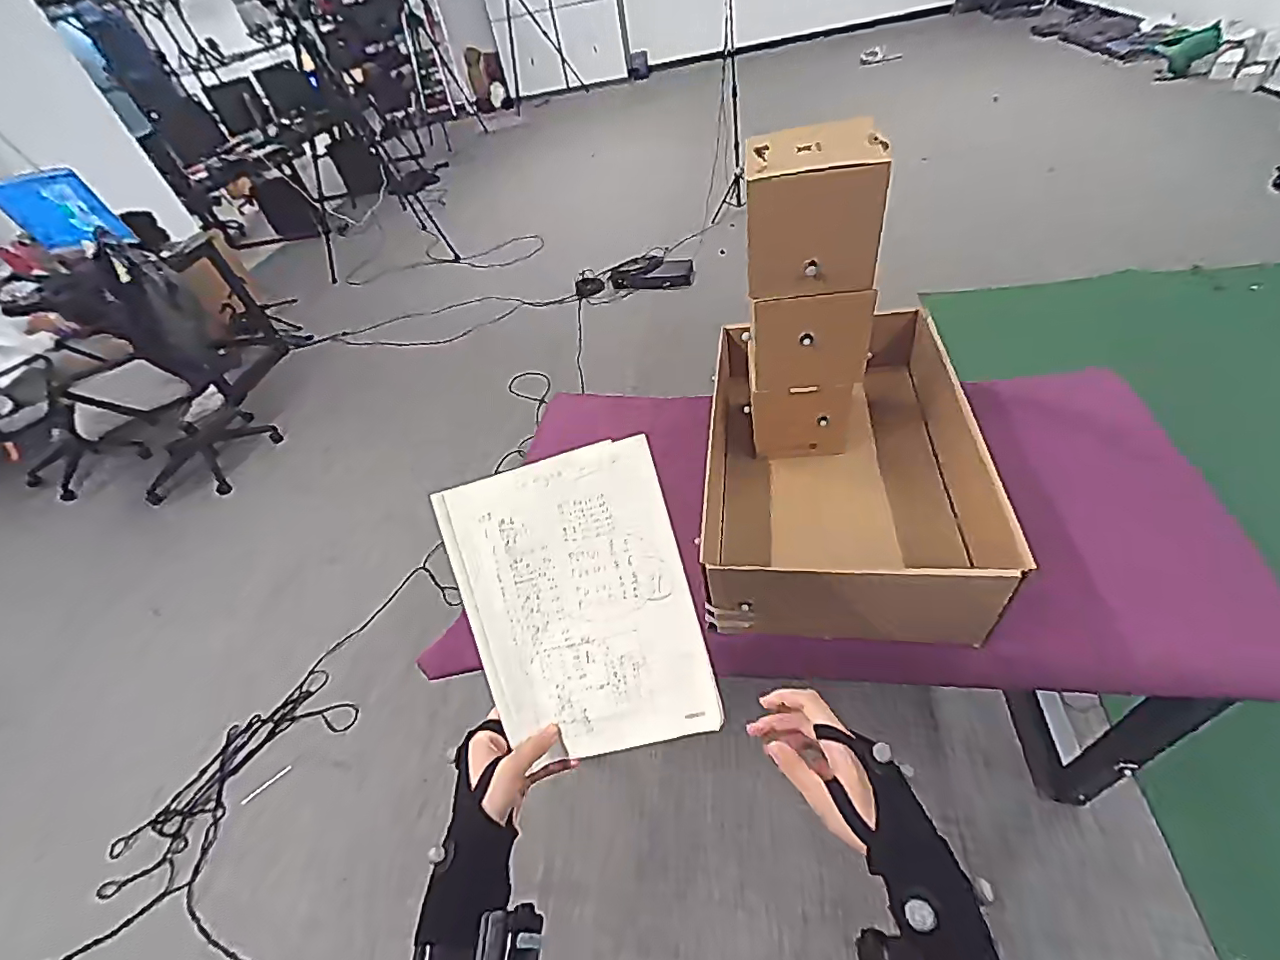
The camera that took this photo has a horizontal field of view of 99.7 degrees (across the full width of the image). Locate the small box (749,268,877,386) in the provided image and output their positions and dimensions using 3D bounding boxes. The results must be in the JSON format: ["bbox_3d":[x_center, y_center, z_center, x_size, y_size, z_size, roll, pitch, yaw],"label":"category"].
[{"bbox_3d":[0.272,-0.273,0.889,0.179,0.176,0.168,-3,47,11],"label":"small box"}]

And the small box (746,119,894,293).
[{"bbox_3d":[0.242,-0.387,0.774,0.179,0.176,0.168,0,47,11],"label":"small box"}]
